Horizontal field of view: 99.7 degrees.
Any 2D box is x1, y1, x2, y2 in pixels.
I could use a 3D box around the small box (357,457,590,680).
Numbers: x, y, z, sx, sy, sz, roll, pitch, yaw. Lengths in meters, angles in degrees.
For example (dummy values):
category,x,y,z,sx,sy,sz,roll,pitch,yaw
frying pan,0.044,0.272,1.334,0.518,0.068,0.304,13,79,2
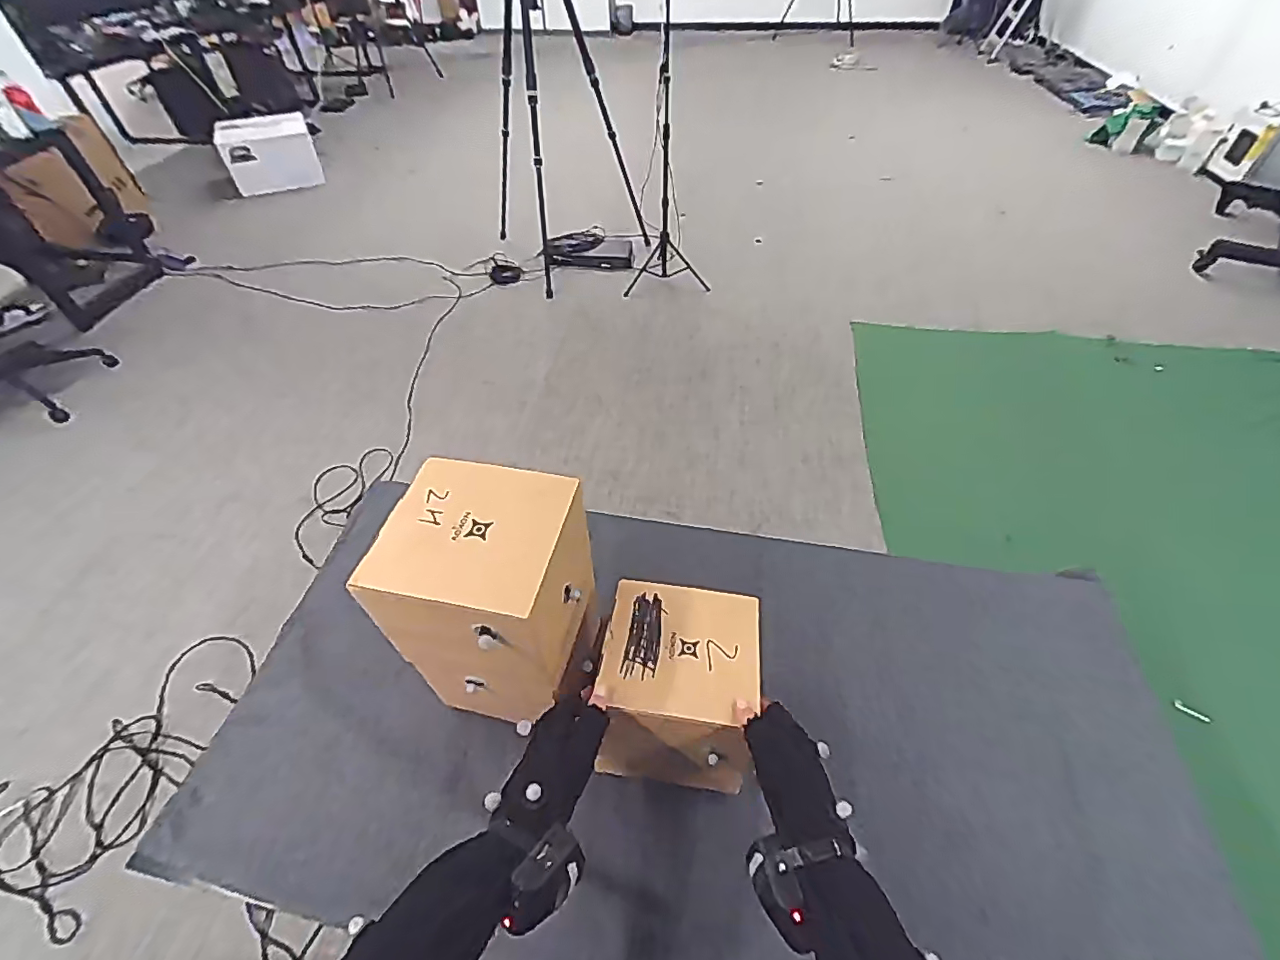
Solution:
category,x,y,z,sx,sy,sz,roll,pitch,yaw
small box,-0.159,0.100,0.593,0.179,0.176,0.168,9,48,8
